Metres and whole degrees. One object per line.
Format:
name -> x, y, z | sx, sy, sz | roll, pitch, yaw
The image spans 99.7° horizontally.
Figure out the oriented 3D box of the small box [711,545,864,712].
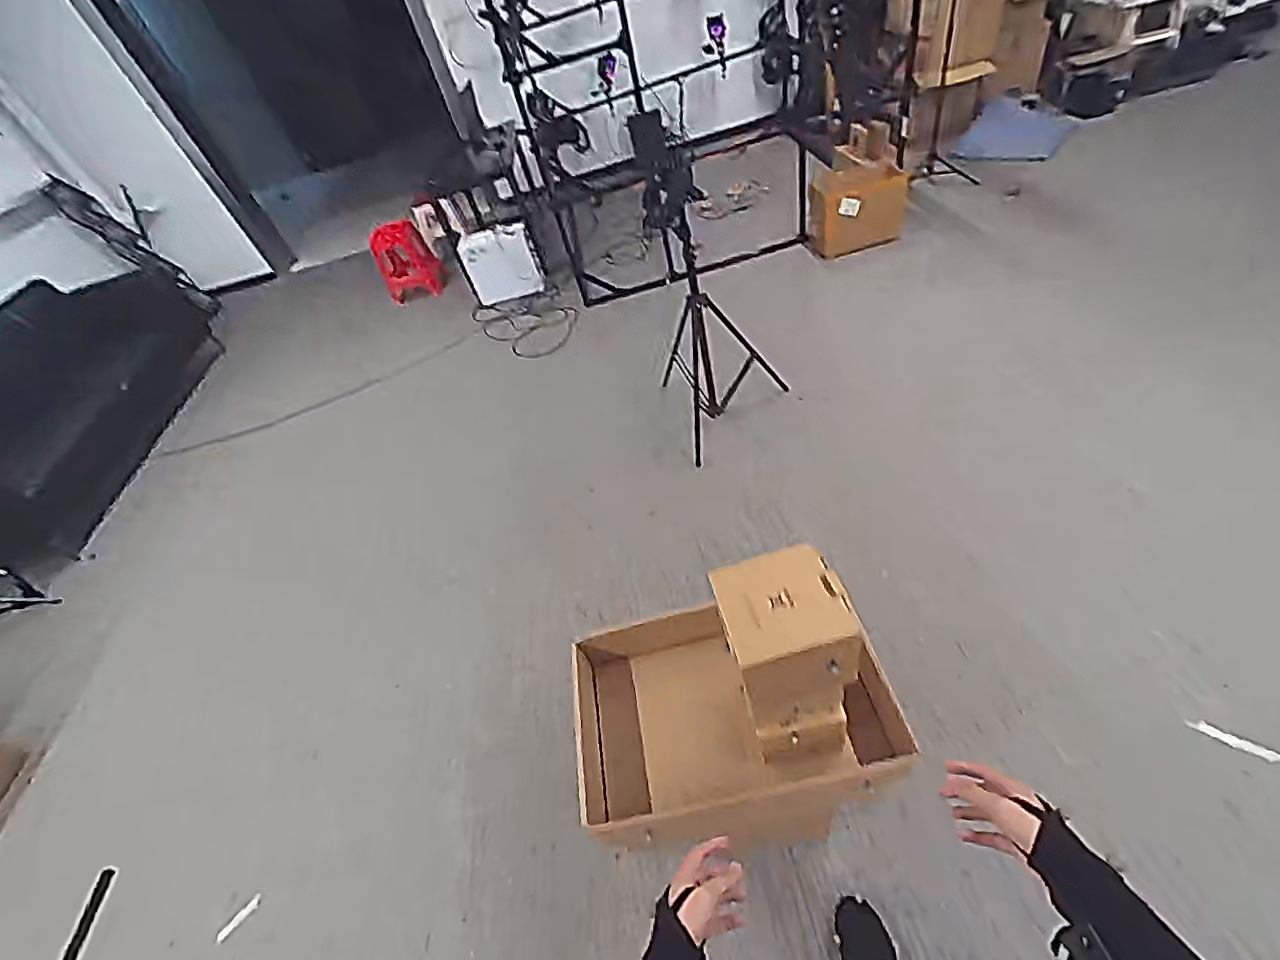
small box -> 0.224, 0.234, 0.845 | 0.179, 0.176, 0.168 | -17, 44, 2
